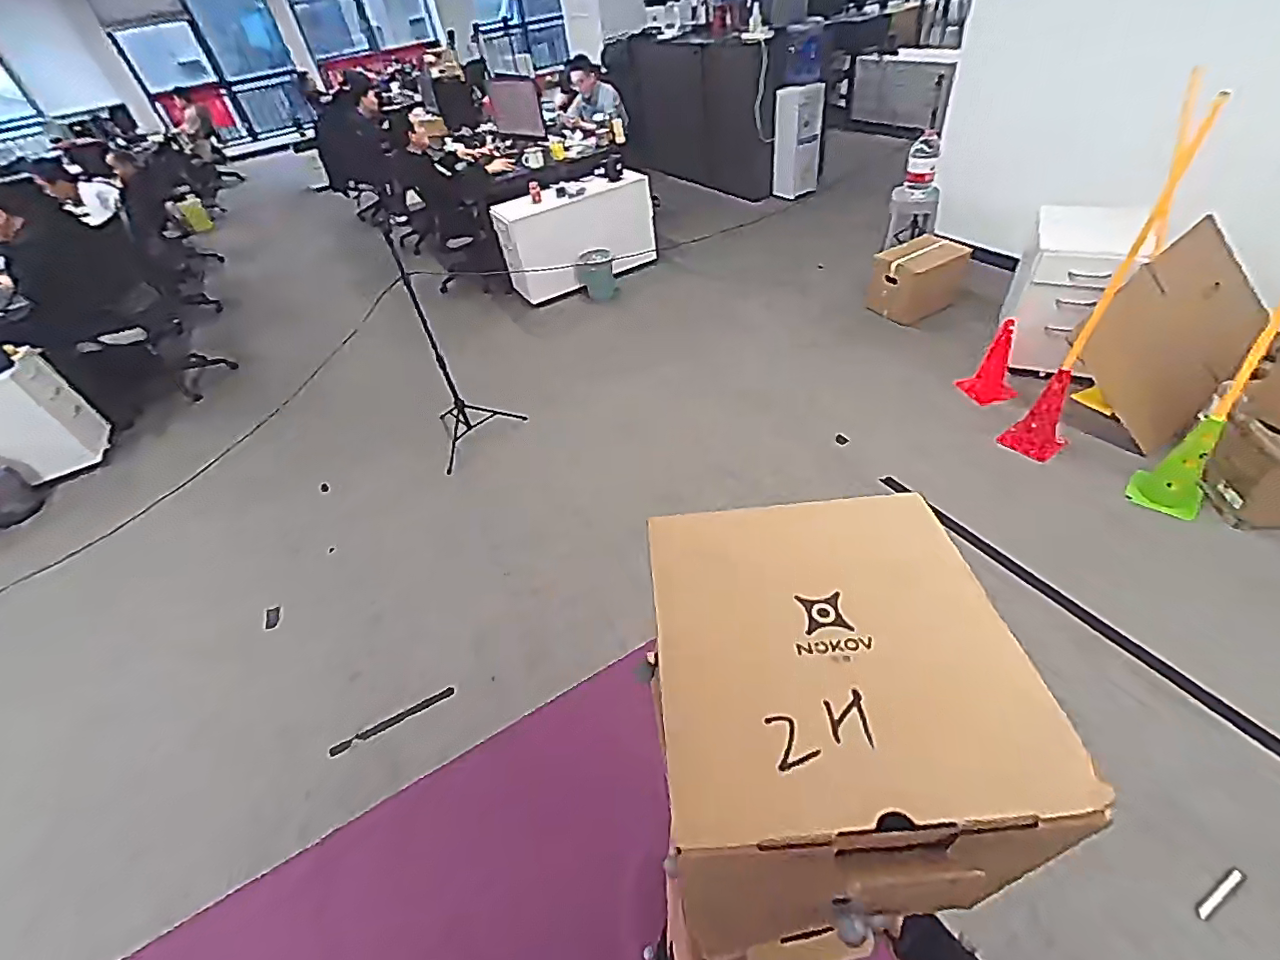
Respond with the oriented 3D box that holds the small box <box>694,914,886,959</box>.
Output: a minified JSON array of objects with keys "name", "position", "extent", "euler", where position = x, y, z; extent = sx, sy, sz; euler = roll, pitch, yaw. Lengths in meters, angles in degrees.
[{"name":"small box","position":[0.122,0.361,0.546],"extent":[0.168,0.176,0.179],"euler":[-11,42,-4]}]

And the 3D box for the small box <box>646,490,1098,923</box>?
[{"name":"small box","position":[0.092,0.129,0.316],"extent":[0.168,0.176,0.179],"euler":[-5,43,2]}]
